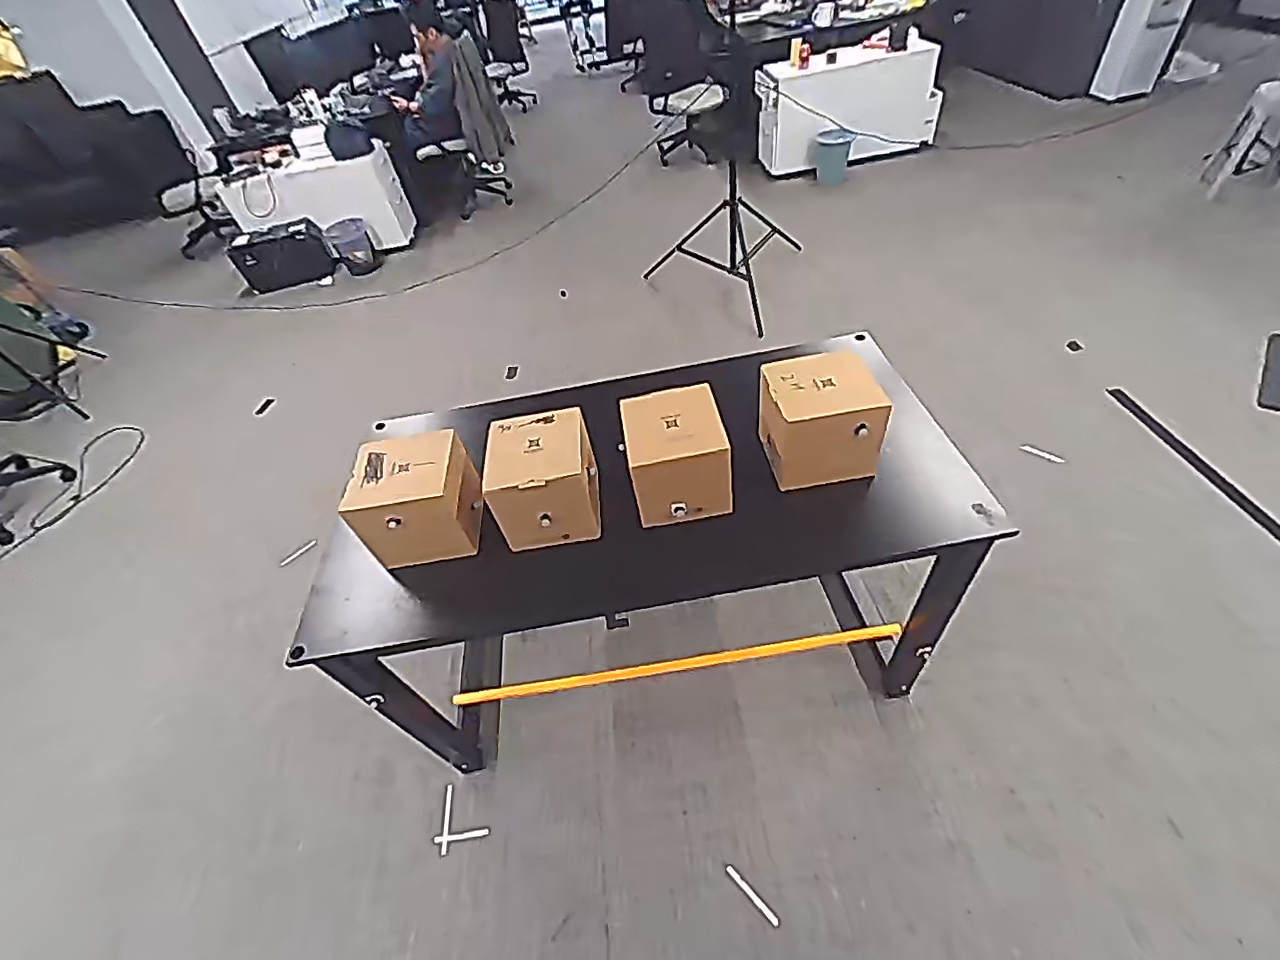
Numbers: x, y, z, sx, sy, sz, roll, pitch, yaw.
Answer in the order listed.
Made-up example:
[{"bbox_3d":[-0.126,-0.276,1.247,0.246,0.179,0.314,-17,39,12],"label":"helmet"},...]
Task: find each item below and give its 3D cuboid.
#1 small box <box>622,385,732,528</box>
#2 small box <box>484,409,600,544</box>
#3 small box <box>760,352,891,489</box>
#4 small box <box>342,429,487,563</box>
[{"bbox_3d":[0.067,-0.041,0.975,0.168,0.176,0.179,-11,48,1],"label":"small box"},{"bbox_3d":[-0.168,0.000,0.977,0.168,0.176,0.179,-9,47,0],"label":"small box"},{"bbox_3d":[0.323,-0.105,0.983,0.179,0.176,0.168,-9,46,2],"label":"small box"},{"bbox_3d":[-0.398,0.033,0.987,0.179,0.176,0.168,-9,47,1],"label":"small box"}]
